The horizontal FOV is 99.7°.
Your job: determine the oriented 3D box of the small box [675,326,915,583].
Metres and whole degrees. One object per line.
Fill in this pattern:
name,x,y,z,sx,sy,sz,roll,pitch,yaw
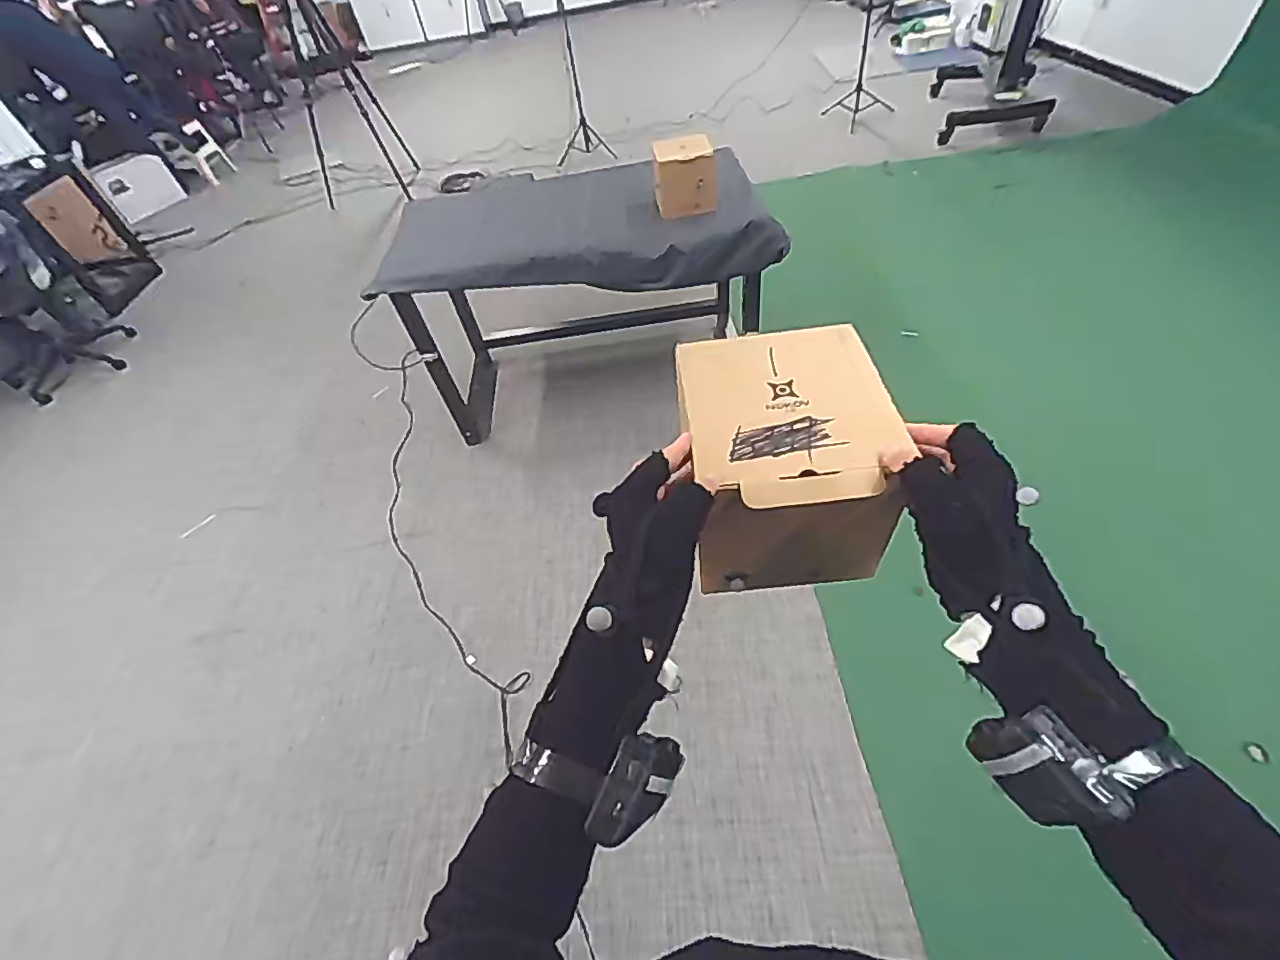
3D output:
small box,0.127,-0.016,0.509,0.168,0.176,0.179,-6,49,3

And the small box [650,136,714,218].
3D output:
small box,0.131,-0.920,1.654,0.168,0.176,0.179,-9,47,1
